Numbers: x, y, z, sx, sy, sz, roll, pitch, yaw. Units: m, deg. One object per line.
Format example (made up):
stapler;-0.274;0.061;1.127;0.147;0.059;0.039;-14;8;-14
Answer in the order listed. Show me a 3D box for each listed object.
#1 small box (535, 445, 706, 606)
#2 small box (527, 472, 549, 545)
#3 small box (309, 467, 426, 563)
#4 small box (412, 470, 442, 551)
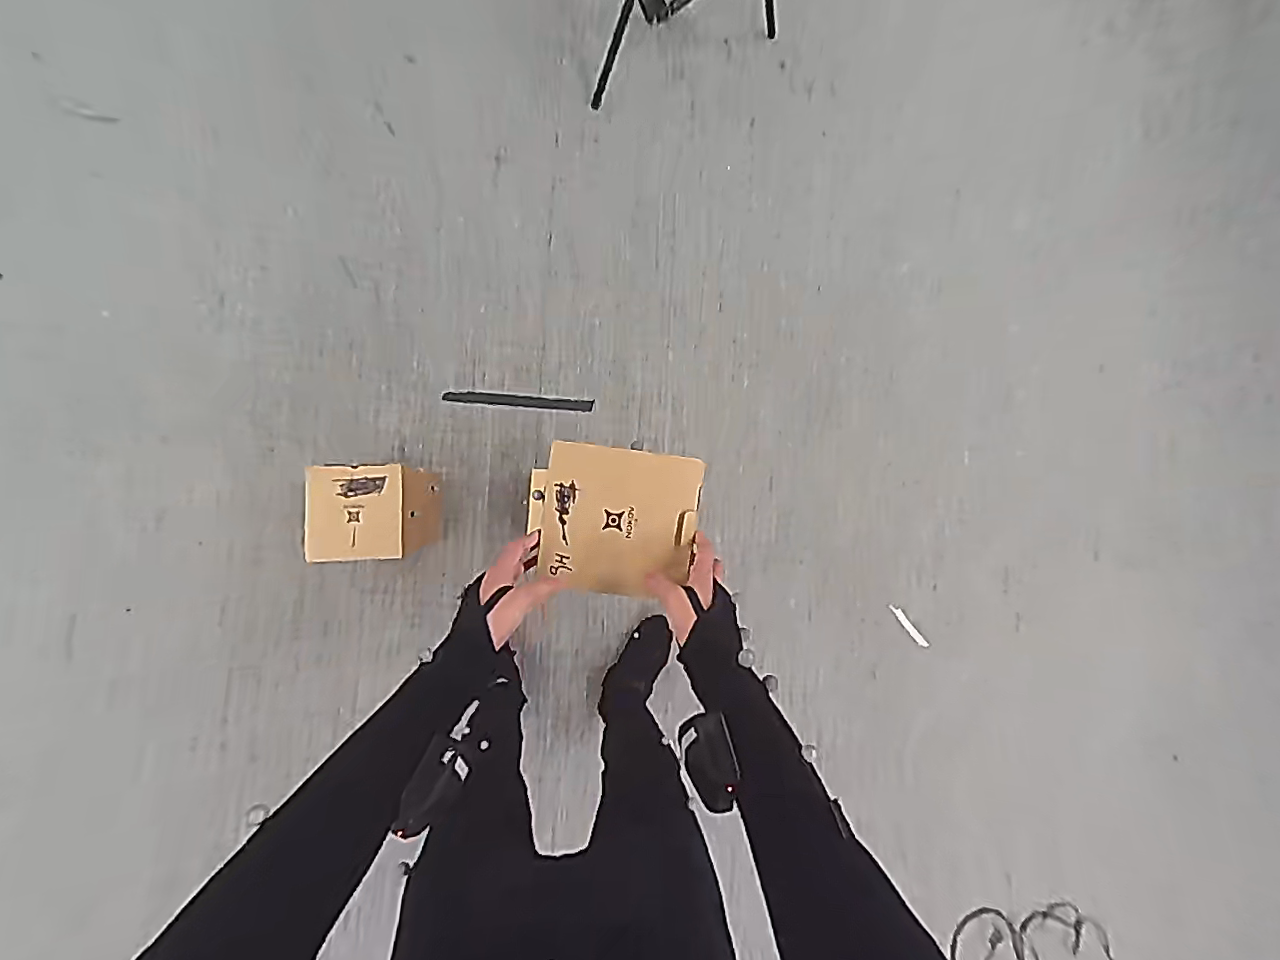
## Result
small box;-0.032;0.049;0.681;0.179;0.176;0.168;7;91;-9
small box;-0.174;0.076;1.295;0.179;0.176;0.168;5;86;-11
small box;-0.525;0.068;1.061;0.168;0.176;0.179;0;87;-10
small box;-0.548;0.073;1.224;0.168;0.176;0.179;-2;87;-11
